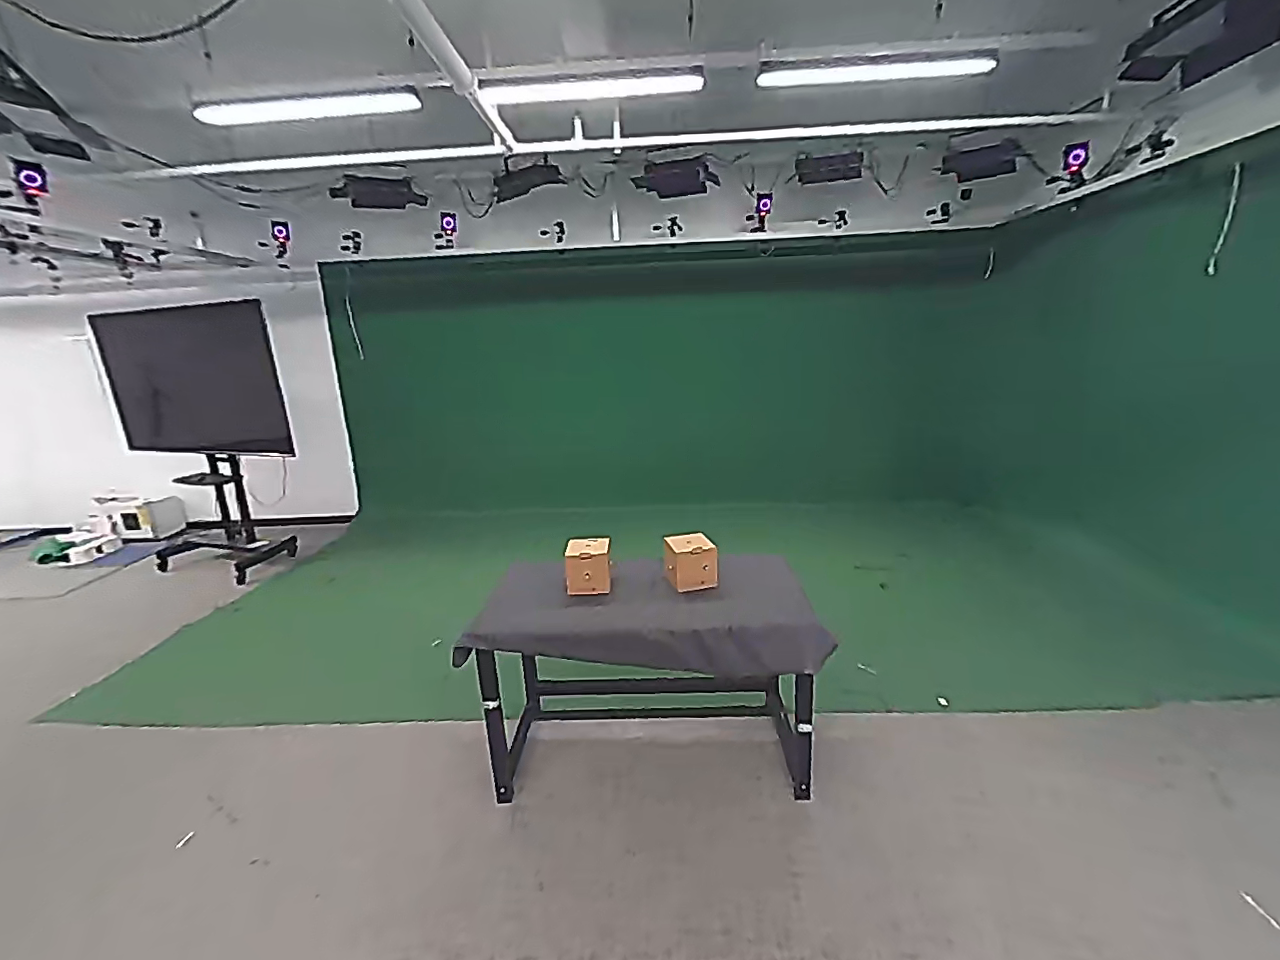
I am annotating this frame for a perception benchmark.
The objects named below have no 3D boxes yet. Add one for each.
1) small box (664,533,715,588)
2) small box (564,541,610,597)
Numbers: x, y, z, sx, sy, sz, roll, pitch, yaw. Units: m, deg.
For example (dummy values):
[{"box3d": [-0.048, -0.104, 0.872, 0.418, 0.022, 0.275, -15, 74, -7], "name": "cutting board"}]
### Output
[{"box3d": [0.194, 0.322, 2.154, 0.168, 0.176, 0.179, -3, 14, -12], "name": "small box"}, {"box3d": [-0.208, 0.359, 2.164, 0.168, 0.176, 0.179, -4, 14, -2], "name": "small box"}]
